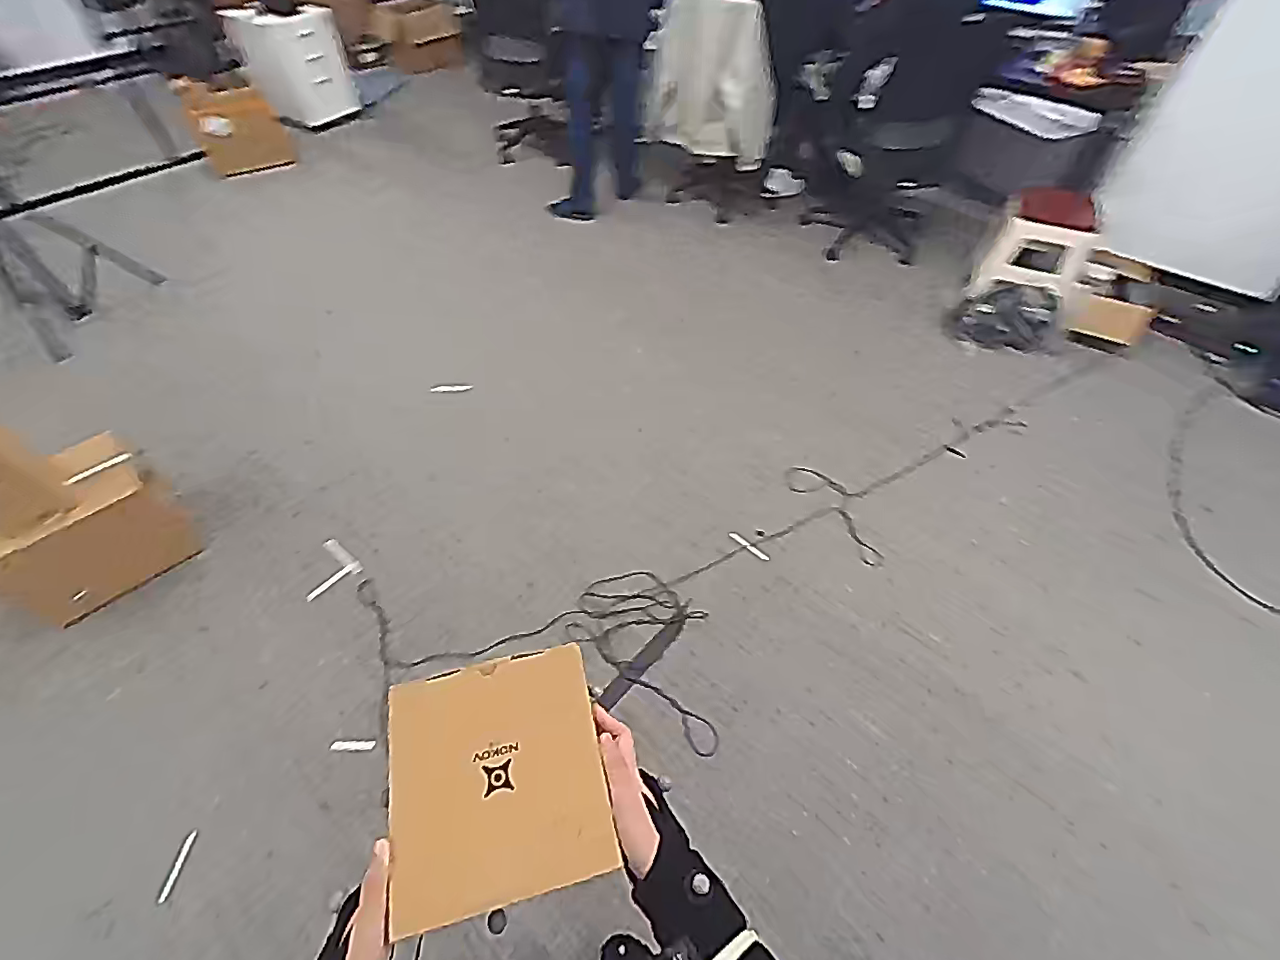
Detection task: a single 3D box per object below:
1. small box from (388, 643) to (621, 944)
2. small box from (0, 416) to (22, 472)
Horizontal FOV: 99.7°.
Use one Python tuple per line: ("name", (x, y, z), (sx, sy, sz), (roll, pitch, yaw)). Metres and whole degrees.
("small box", (-0.116, 0.276, 0.491), (0.168, 0.176, 0.179), (-11, 55, -12))
("small box", (-1.601, -0.098, 1.246), (0.168, 0.176, 0.179), (-36, 61, -25))
